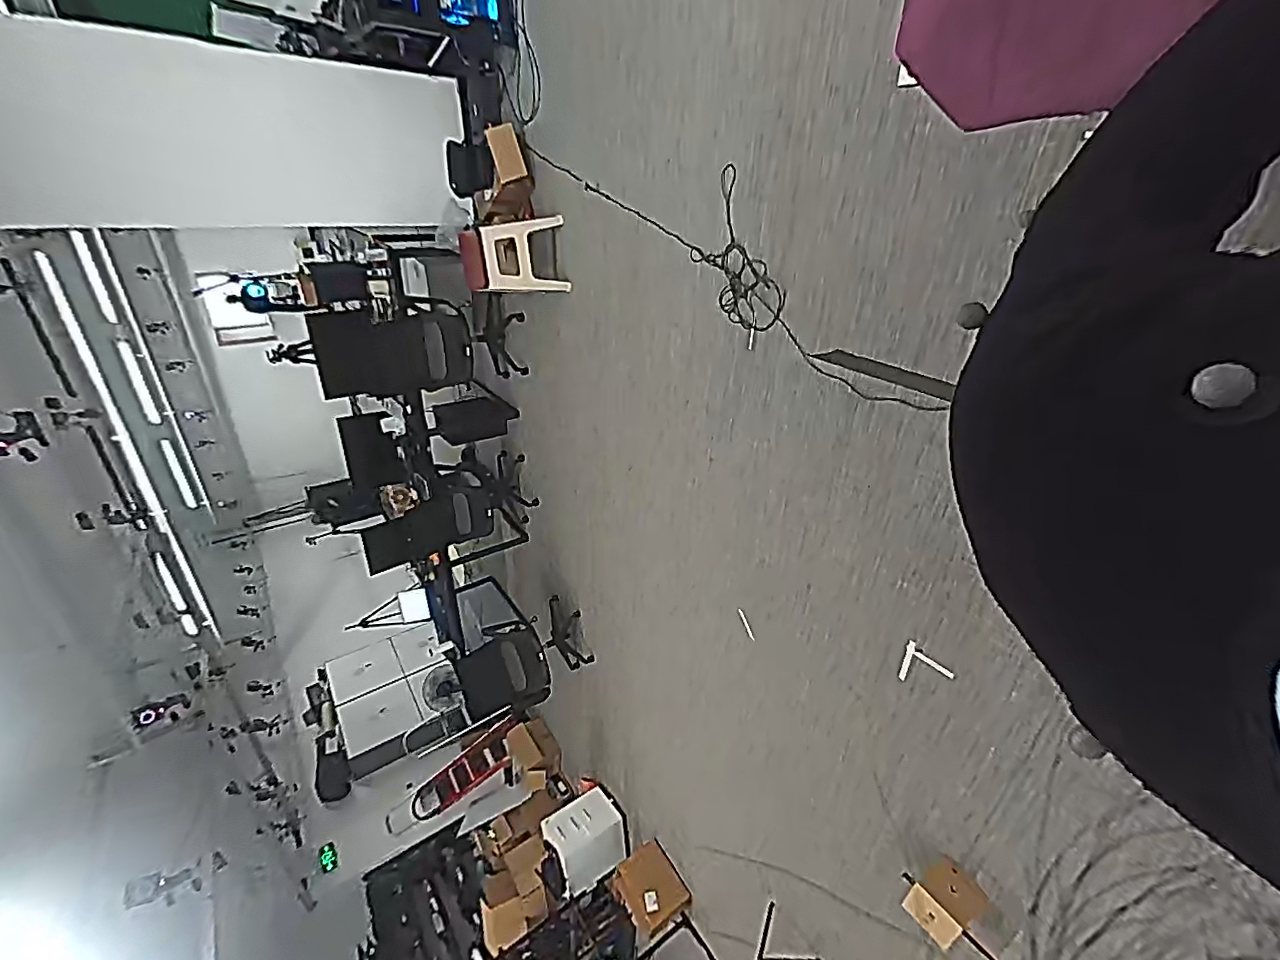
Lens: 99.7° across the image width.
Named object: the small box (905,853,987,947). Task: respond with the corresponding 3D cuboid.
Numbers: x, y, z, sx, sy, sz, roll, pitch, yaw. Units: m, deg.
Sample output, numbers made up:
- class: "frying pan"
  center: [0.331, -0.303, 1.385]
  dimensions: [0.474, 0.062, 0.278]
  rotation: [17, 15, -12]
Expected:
- class: "small box"
  center: [1.063, 1.445, 1.871]
  dimensions: [0.168, 0.176, 0.179]
  rotation: [38, 136, 43]
